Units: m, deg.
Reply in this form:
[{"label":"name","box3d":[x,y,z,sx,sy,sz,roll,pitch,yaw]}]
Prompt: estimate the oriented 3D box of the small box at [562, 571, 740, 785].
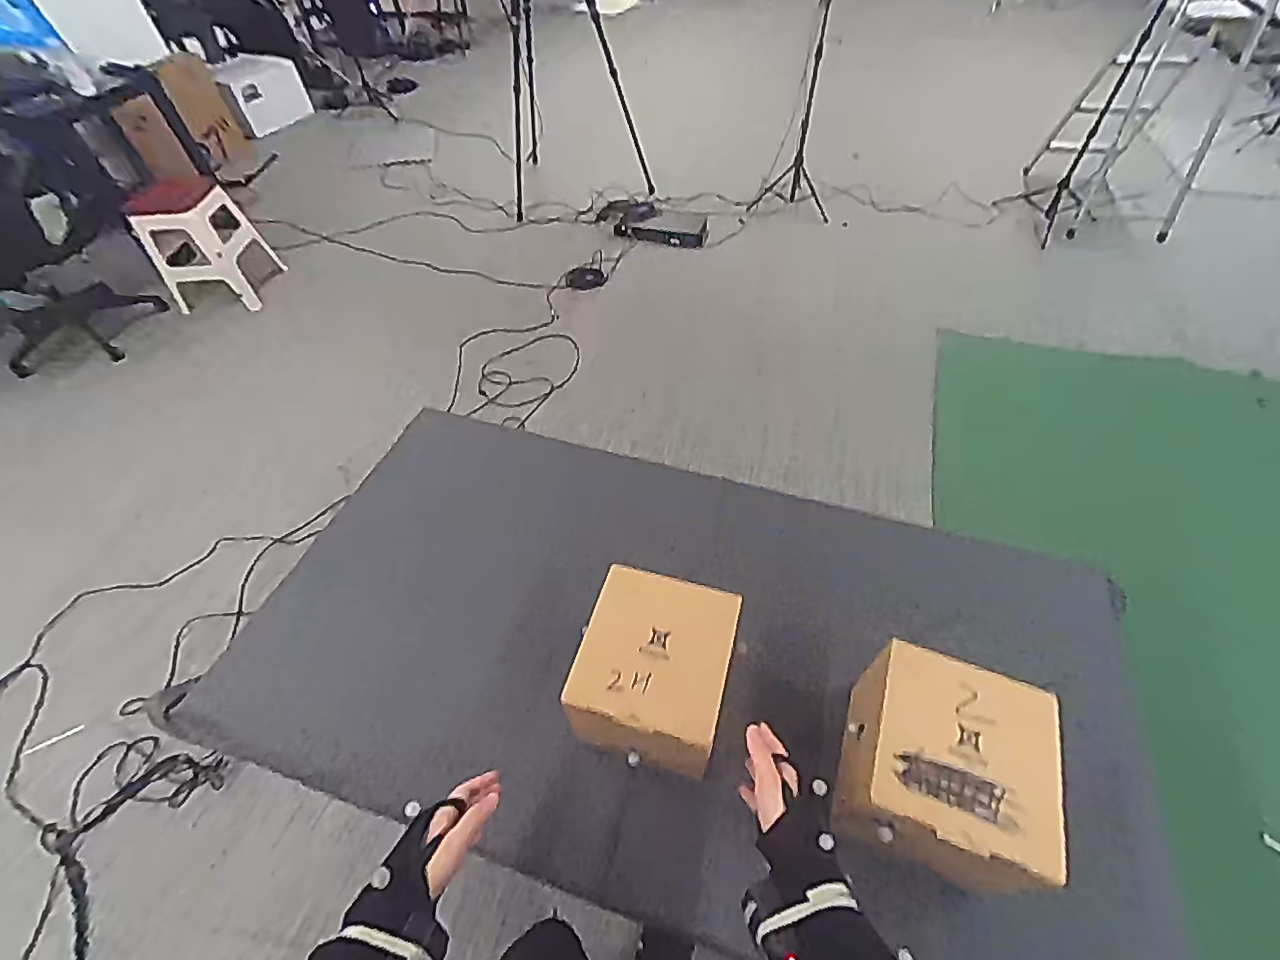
[{"label":"small box","box3d":[0.018,0.246,0.670,0.168,0.176,0.179,13,52,12]}]
